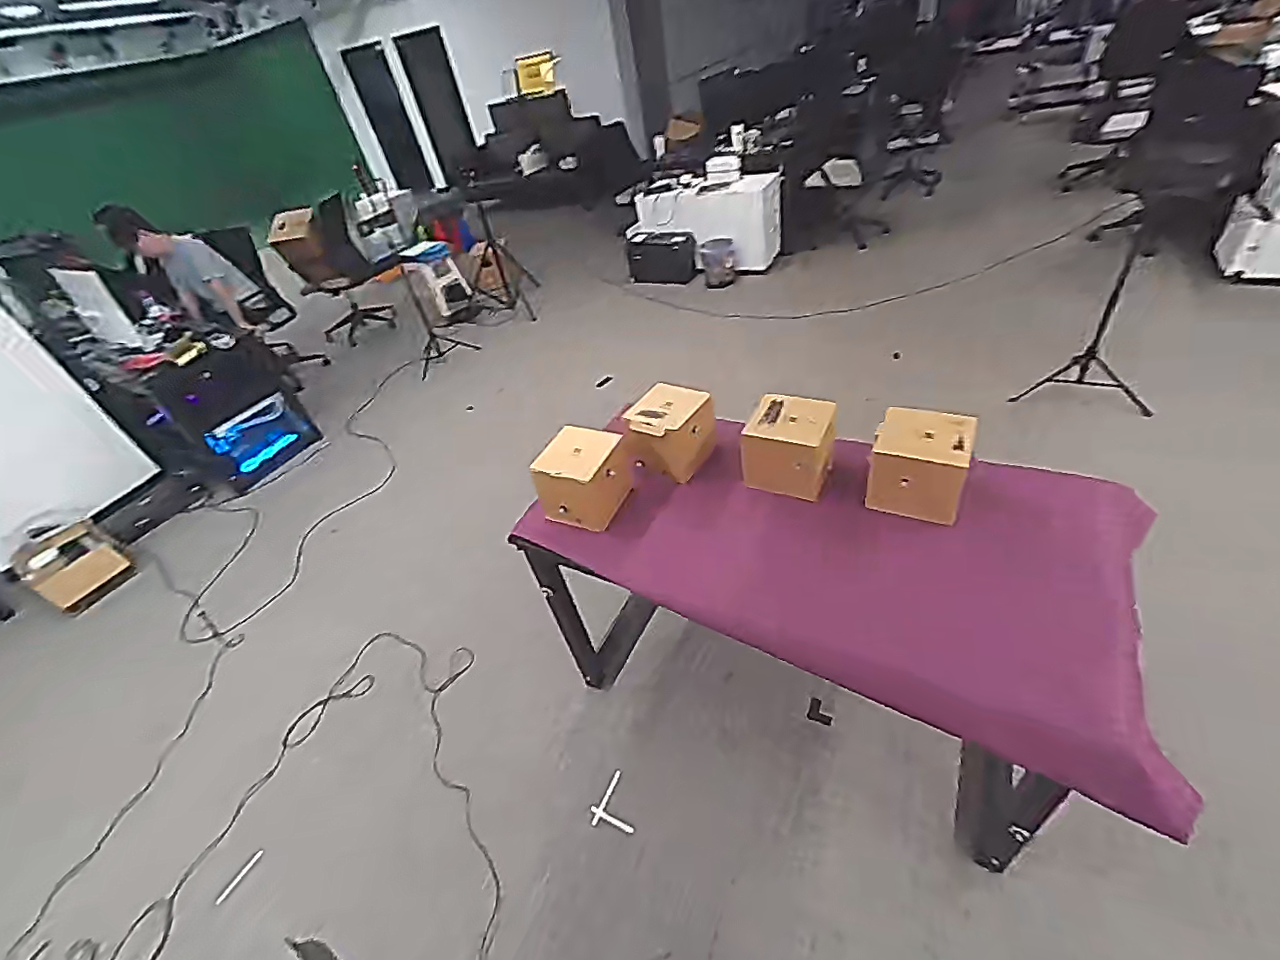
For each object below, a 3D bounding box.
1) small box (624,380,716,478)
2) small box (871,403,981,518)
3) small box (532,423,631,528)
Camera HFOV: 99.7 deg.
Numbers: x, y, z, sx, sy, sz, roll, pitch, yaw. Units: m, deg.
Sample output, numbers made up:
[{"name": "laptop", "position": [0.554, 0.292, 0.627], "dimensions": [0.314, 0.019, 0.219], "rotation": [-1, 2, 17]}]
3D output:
[{"name": "small box", "position": [0.086, -0.131, 1.401], "dimensions": [0.168, 0.176, 0.179], "rotation": [19, 50, 31]}, {"name": "small box", "position": [0.602, -0.041, 1.153], "dimensions": [0.179, 0.176, 0.168], "rotation": [13, 49, 29]}, {"name": "small box", "position": [-0.133, -0.012, 1.321], "dimensions": [0.168, 0.176, 0.179], "rotation": [12, 47, 24]}]
